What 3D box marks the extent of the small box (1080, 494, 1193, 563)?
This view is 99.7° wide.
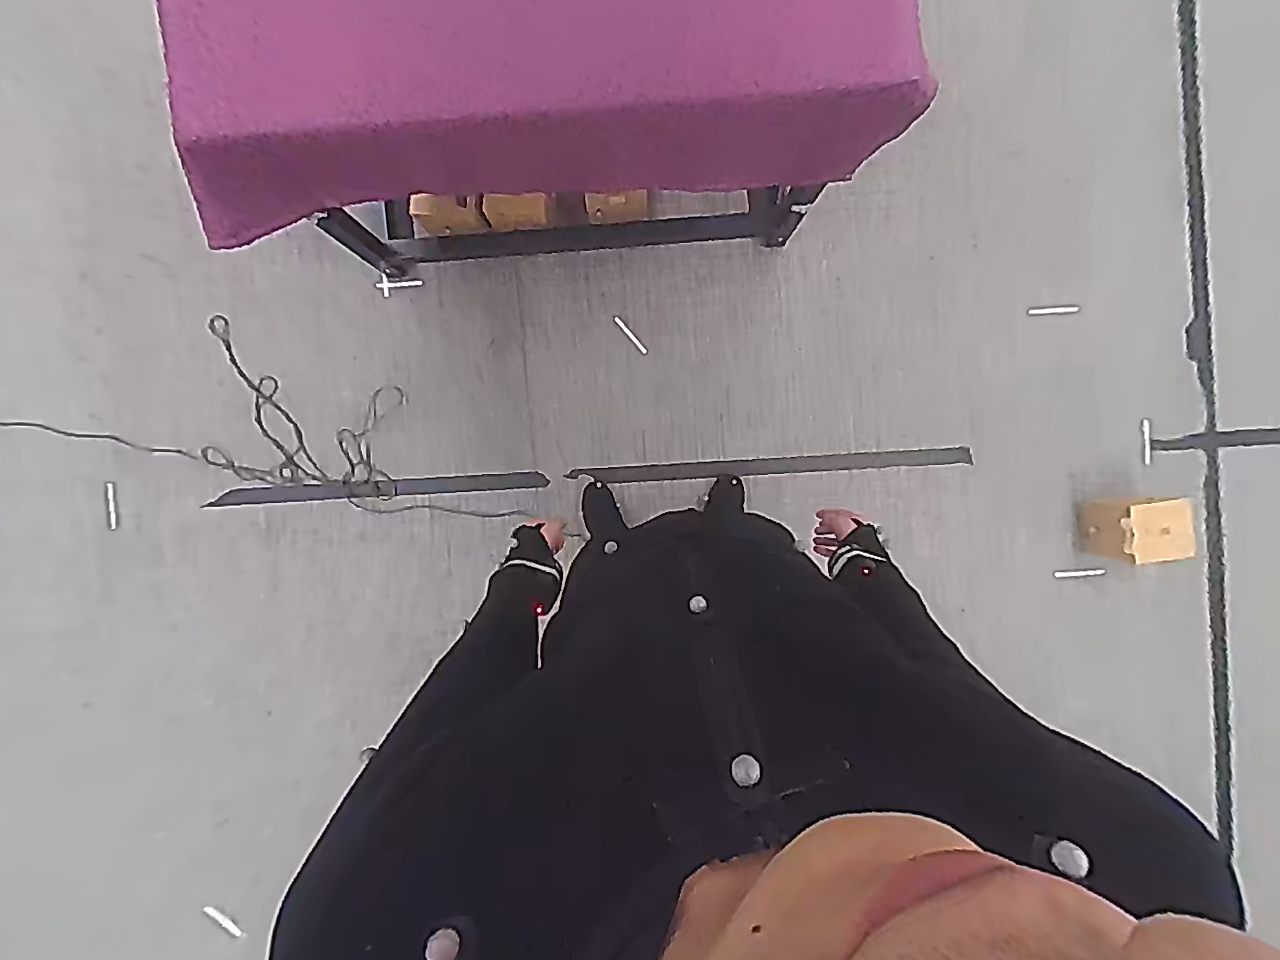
[{"bbox_3d":[1.430,0.134,1.565,0.179,0.176,0.168,-8,93,1],"label":"small box"}]
